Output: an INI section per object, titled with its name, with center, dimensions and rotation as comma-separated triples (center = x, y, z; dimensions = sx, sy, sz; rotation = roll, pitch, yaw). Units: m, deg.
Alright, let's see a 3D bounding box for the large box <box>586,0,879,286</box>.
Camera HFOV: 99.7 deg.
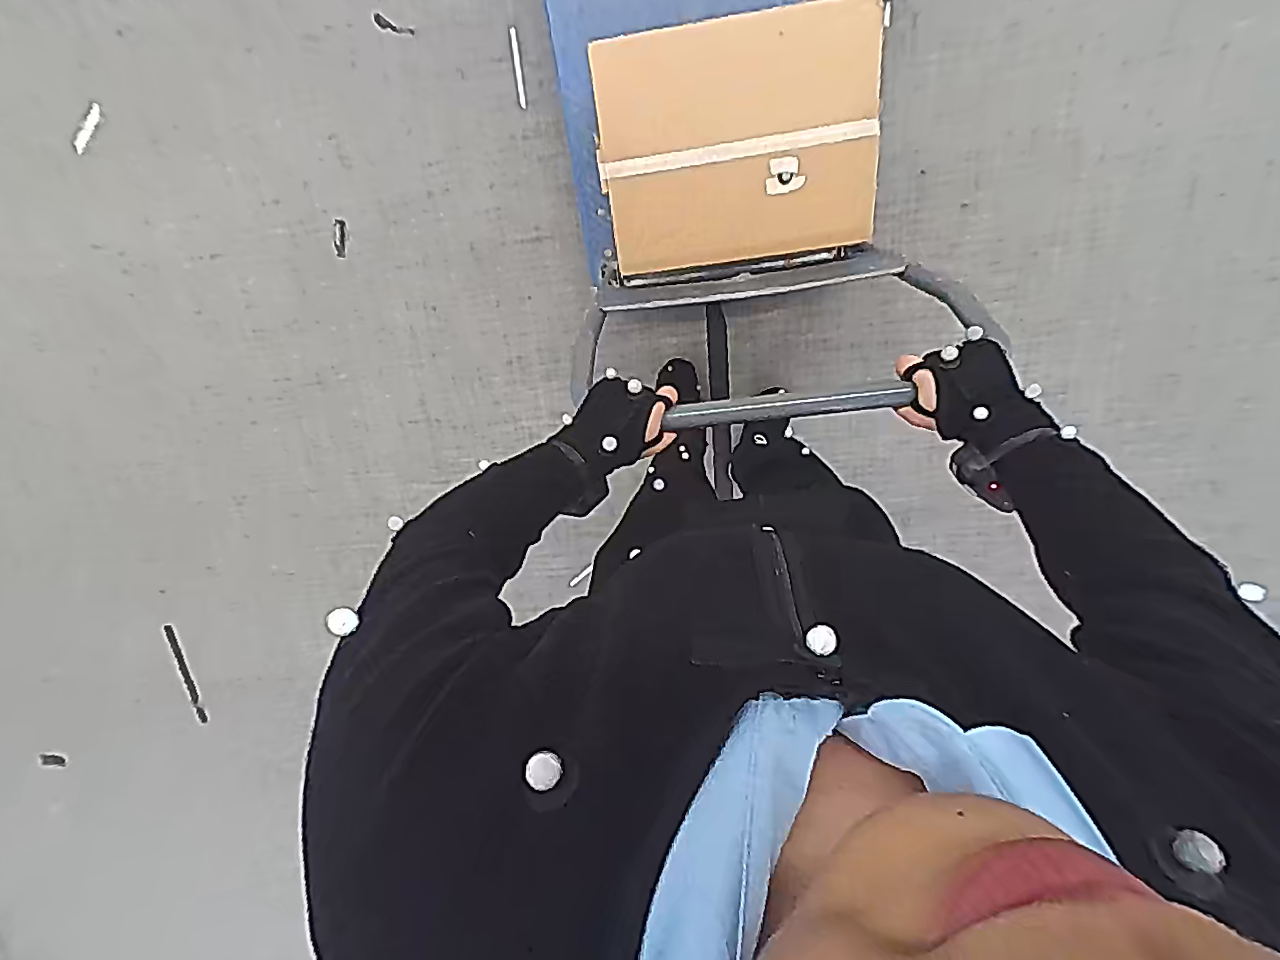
[large box]
center = 0.145, -0.548, 0.931
dimensions = 0.408, 0.320, 0.320
rotation = -7, 119, 5
